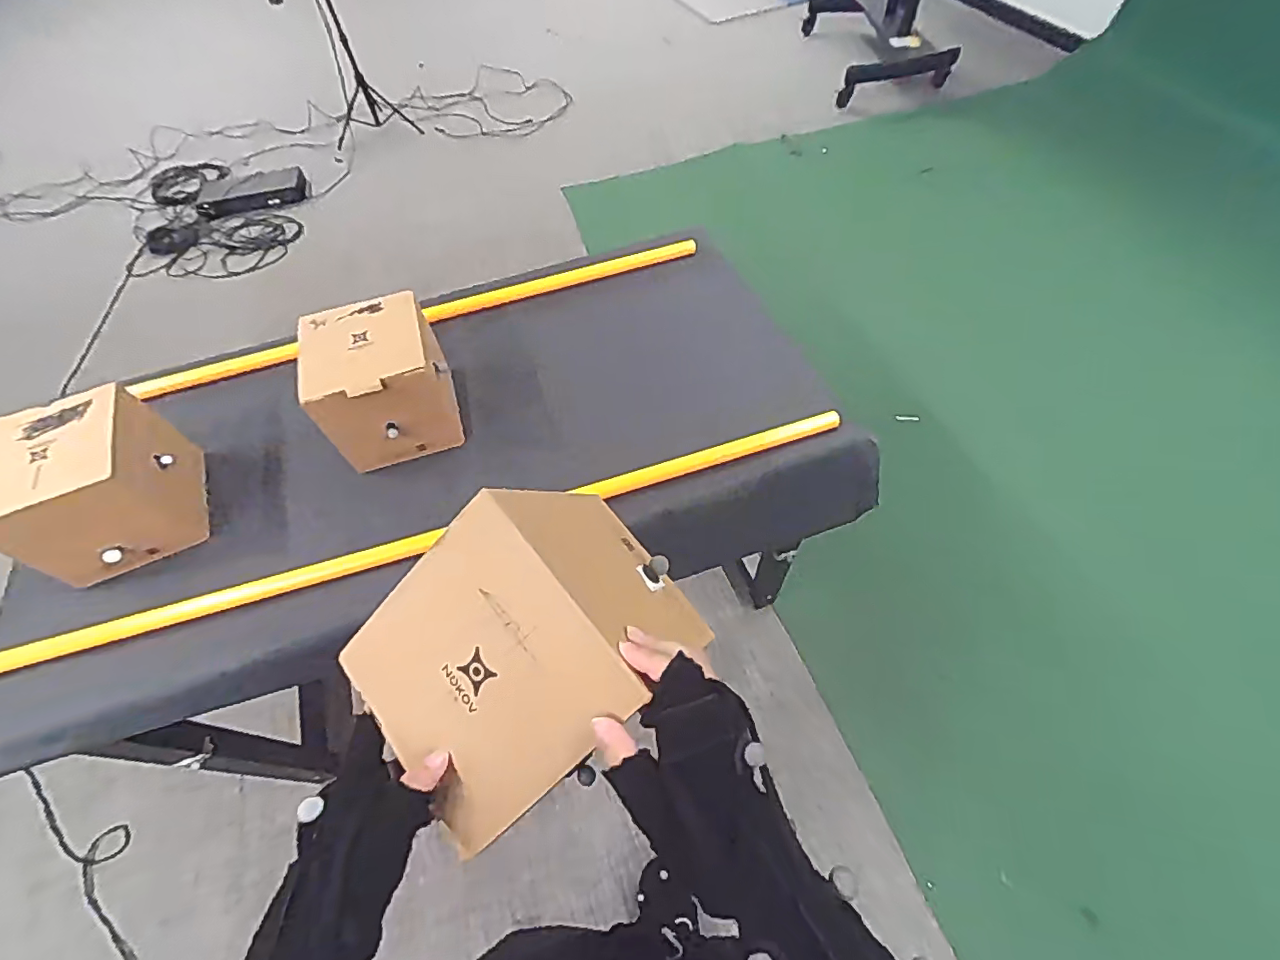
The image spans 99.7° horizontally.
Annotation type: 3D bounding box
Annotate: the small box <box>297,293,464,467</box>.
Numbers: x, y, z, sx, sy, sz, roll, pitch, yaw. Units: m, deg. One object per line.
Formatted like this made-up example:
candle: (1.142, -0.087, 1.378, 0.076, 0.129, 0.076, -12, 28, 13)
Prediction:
small box: (-0.384, -0.141, 0.815, 0.168, 0.176, 0.179, -21, 58, -9)

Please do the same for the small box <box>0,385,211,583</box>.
small box: (-0.725, 0.009, 0.732, 0.168, 0.176, 0.179, -24, 60, -12)
